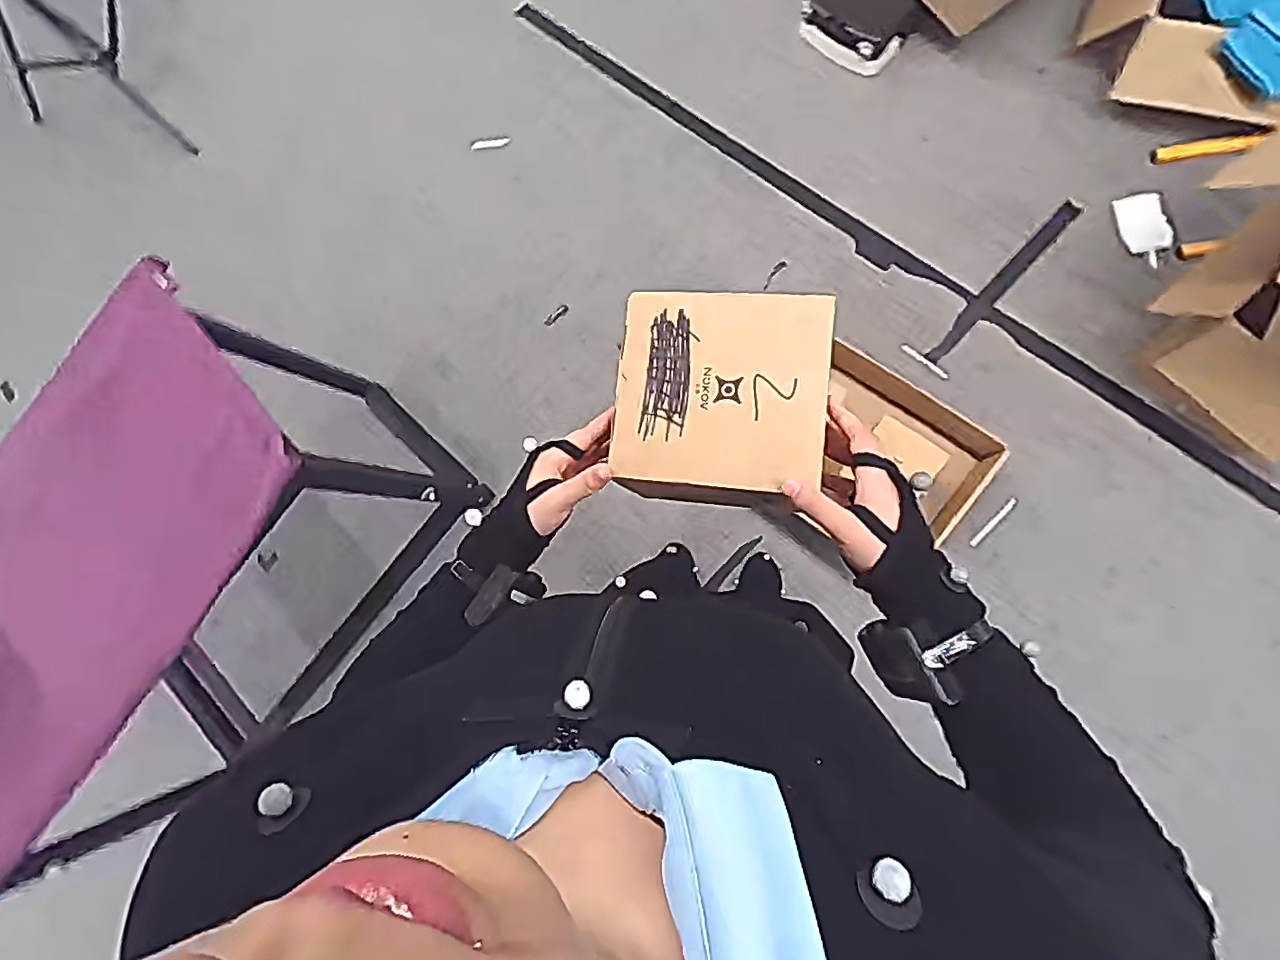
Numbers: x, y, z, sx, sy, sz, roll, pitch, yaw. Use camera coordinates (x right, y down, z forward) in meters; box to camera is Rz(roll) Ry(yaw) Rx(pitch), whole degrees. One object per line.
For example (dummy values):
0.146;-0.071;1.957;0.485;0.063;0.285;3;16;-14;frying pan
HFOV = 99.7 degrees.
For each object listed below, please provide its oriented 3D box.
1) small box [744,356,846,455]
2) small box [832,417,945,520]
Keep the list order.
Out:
0.380;-0.177;1.351;0.179;0.176;0.168;36;91;12;small box
0.580;-0.022;1.292;0.168;0.176;0.179;38;93;14;small box
